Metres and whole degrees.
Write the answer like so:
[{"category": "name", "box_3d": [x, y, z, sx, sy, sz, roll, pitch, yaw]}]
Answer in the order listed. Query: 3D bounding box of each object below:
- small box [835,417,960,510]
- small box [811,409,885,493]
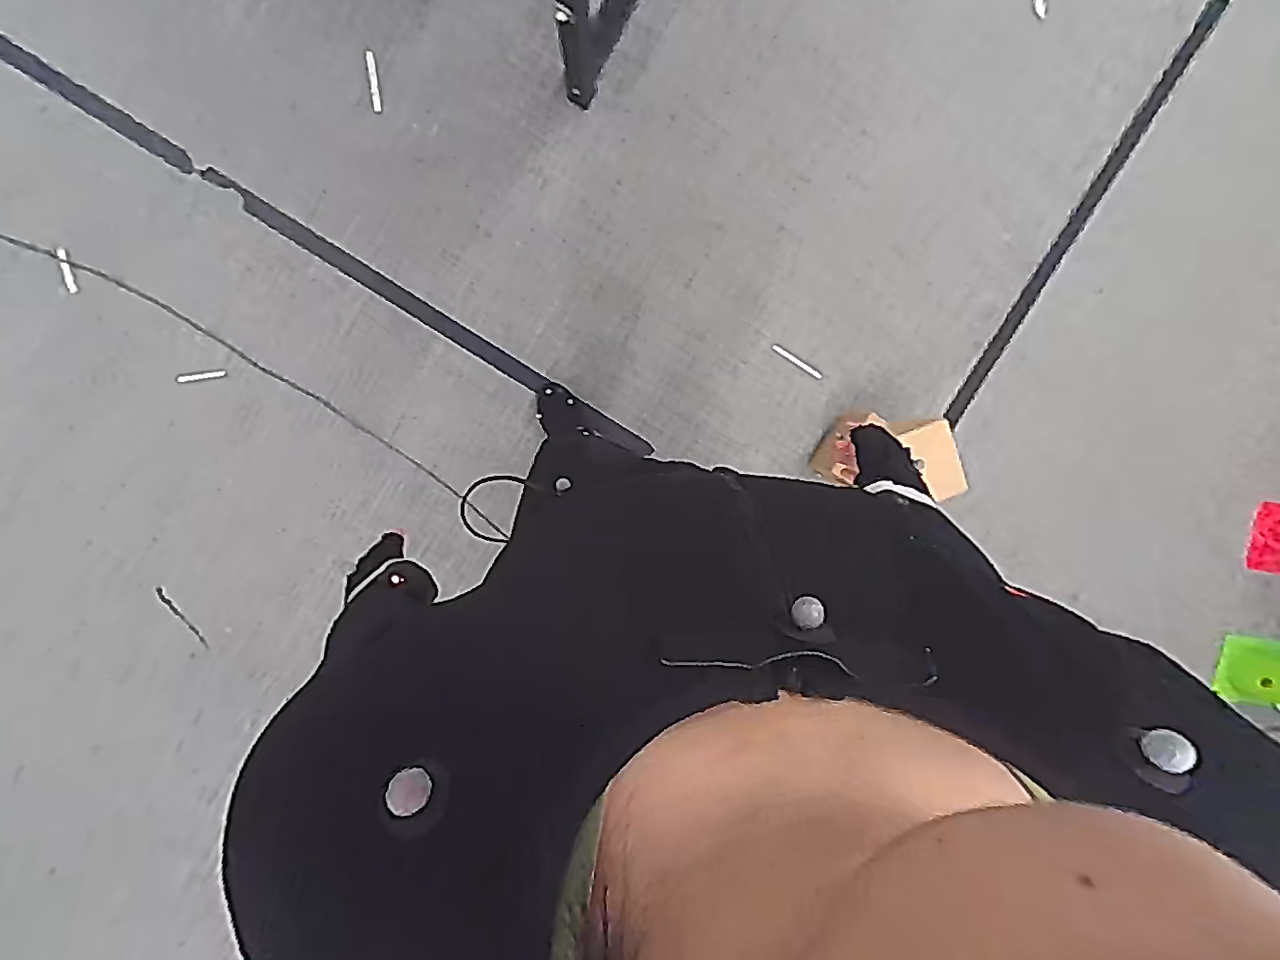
[{"category": "small box", "box_3d": [0.588, -0.040, 1.246, 0.179, 0.176, 0.168, -22, 98, 0]}, {"category": "small box", "box_3d": [0.571, -0.068, 1.411, 0.168, 0.176, 0.179, 33, 94, -6]}]
